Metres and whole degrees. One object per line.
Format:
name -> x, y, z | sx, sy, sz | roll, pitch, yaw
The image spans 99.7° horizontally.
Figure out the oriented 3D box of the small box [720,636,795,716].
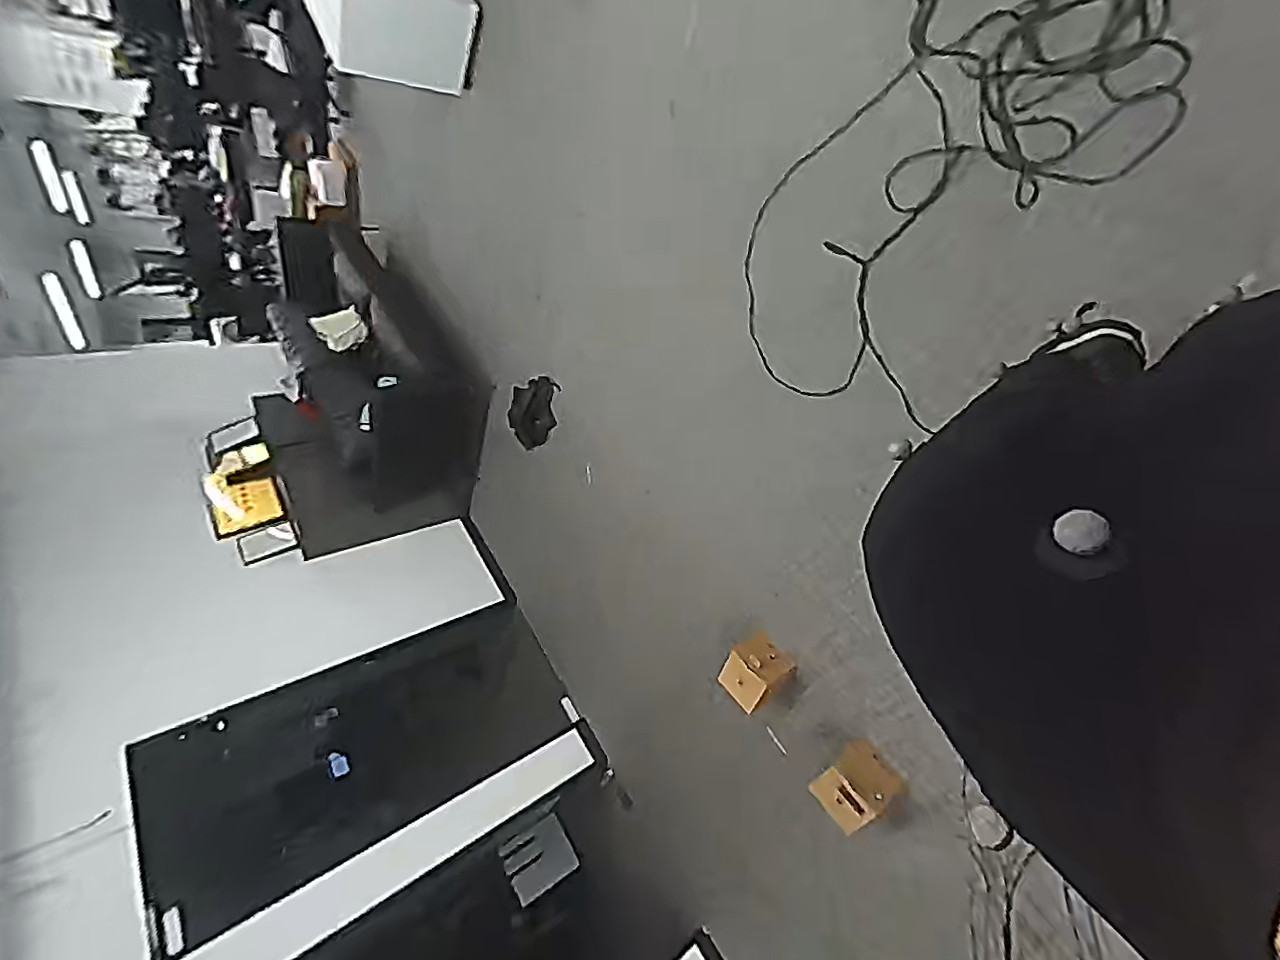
small box -> 0.417, 0.687, 1.909 | 0.168, 0.176, 0.179 | 44, 133, 35
